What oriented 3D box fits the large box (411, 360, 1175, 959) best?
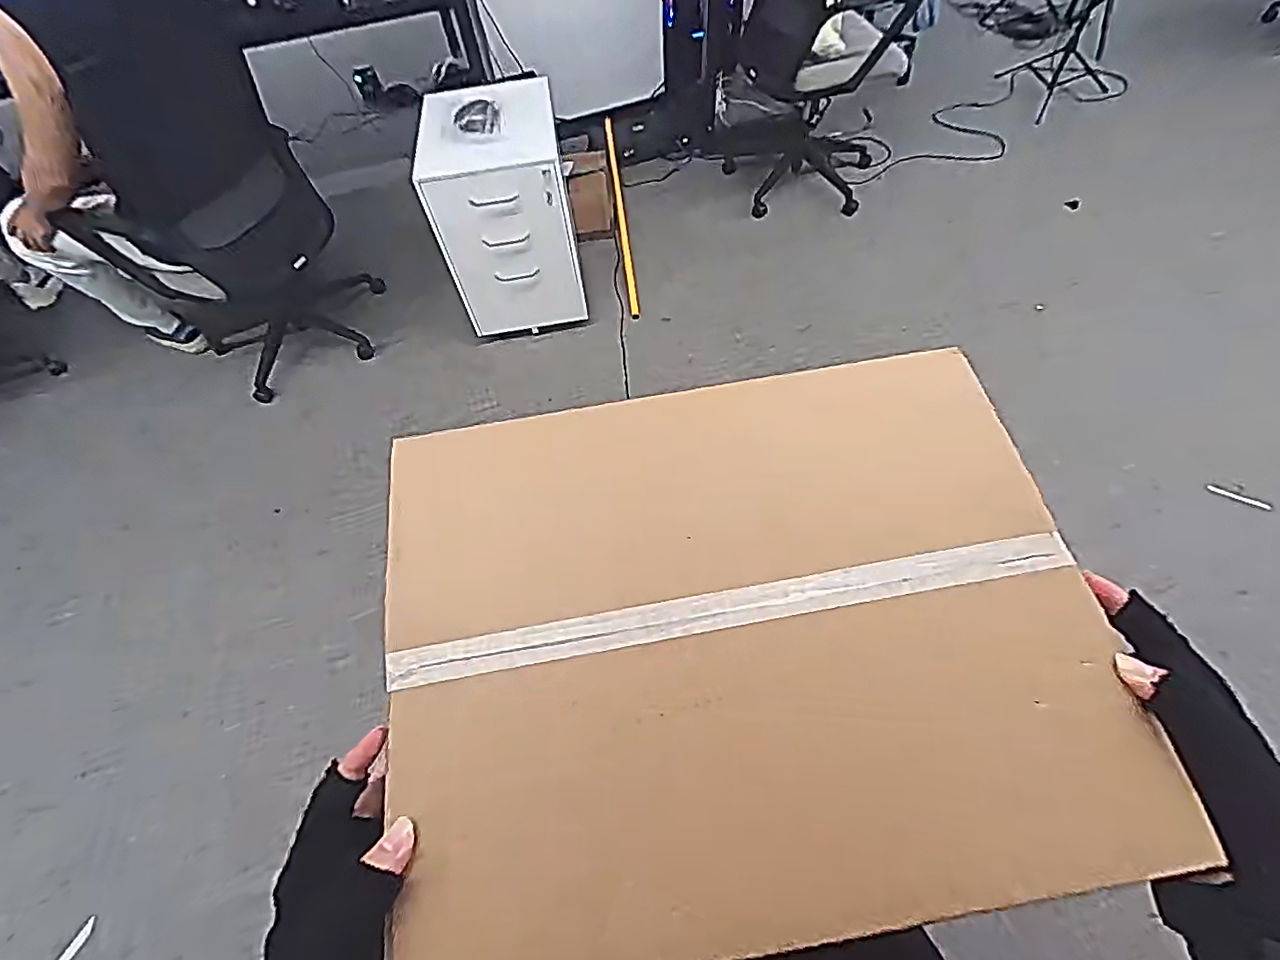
[{"bbox_3d":[0.062,0.144,0.468,0.408,0.320,0.320,-10,65,-2],"label":"large box"}]
